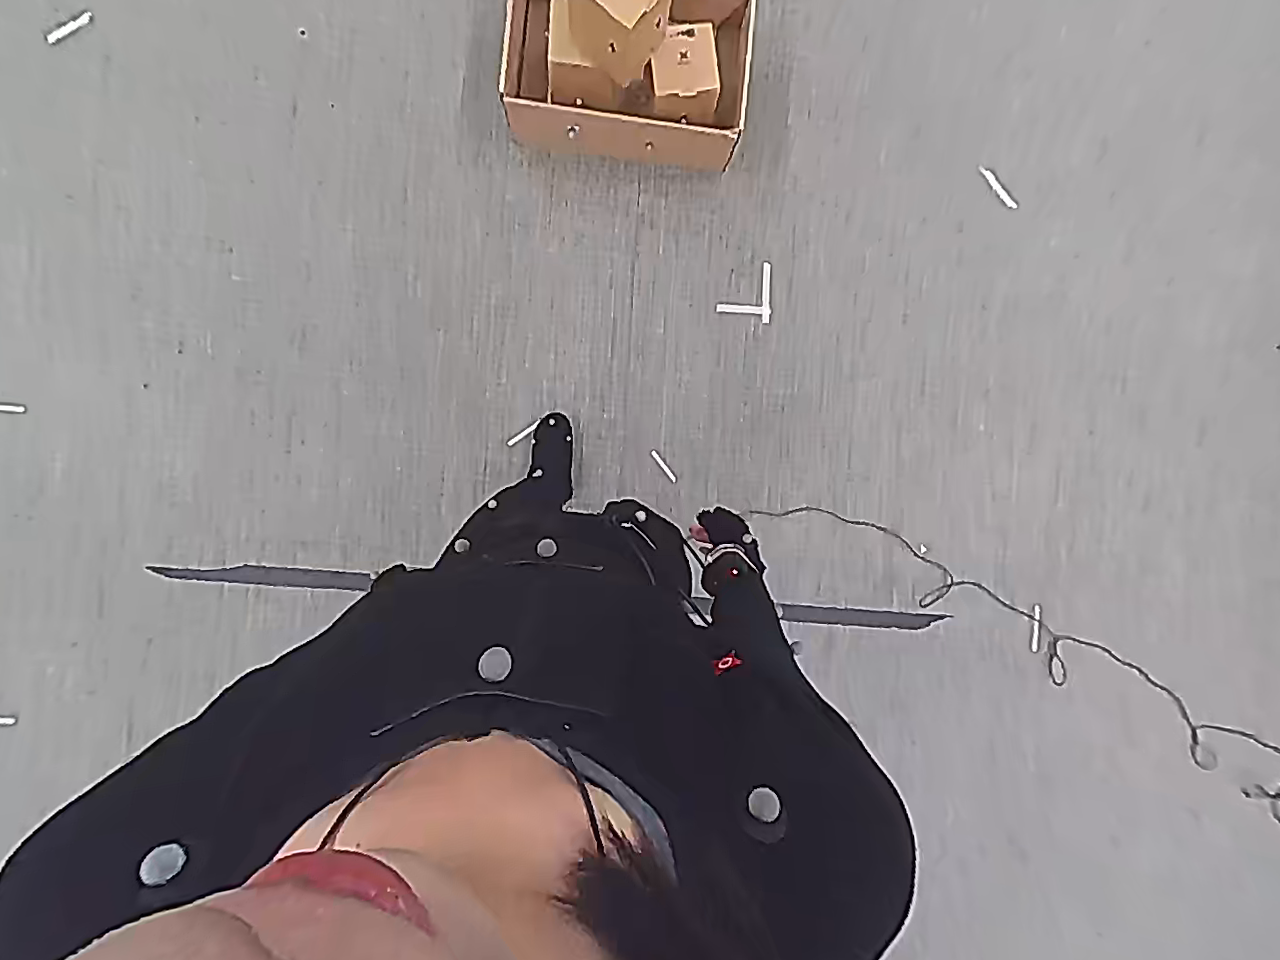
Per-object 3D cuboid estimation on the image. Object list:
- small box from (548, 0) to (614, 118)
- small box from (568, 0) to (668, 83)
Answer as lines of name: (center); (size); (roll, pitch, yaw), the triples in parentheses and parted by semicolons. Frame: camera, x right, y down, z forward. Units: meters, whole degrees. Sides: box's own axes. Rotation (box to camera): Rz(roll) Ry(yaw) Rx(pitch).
small box: (-0.146, -1.085, 1.395); (0.168, 0.176, 0.179); (3, 89, -6)
small box: (-0.047, -1.068, 1.241); (0.179, 0.176, 0.168); (37, 84, -2)
